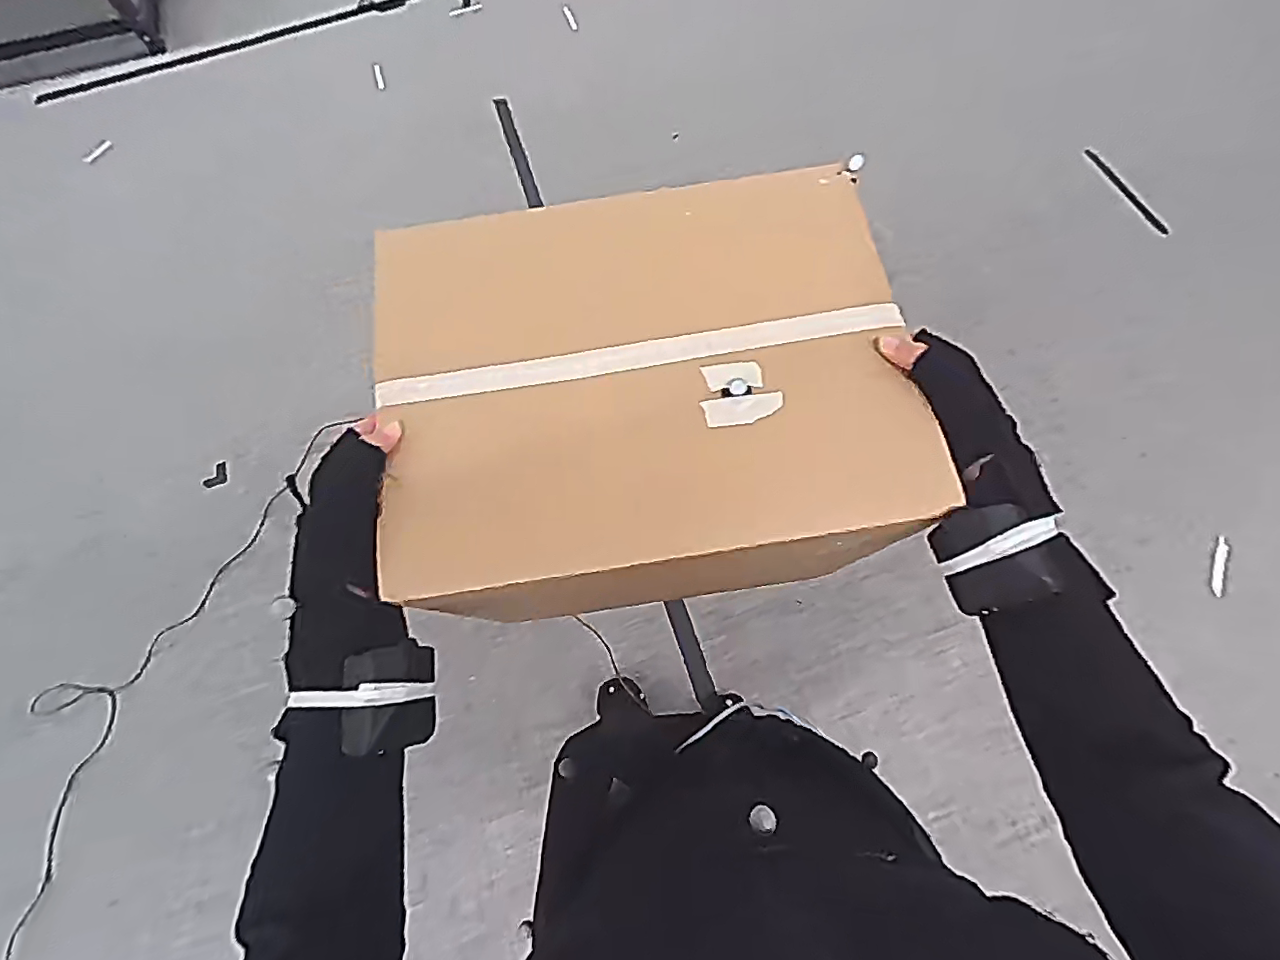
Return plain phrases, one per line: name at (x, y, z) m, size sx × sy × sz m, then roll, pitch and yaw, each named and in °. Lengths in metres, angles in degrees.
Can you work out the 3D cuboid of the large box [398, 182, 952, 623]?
large box at (0.011, -0.045, 0.571) m, size 0.408 × 0.320 × 0.320 m, roll -9°, pitch 73°, yaw -1°
